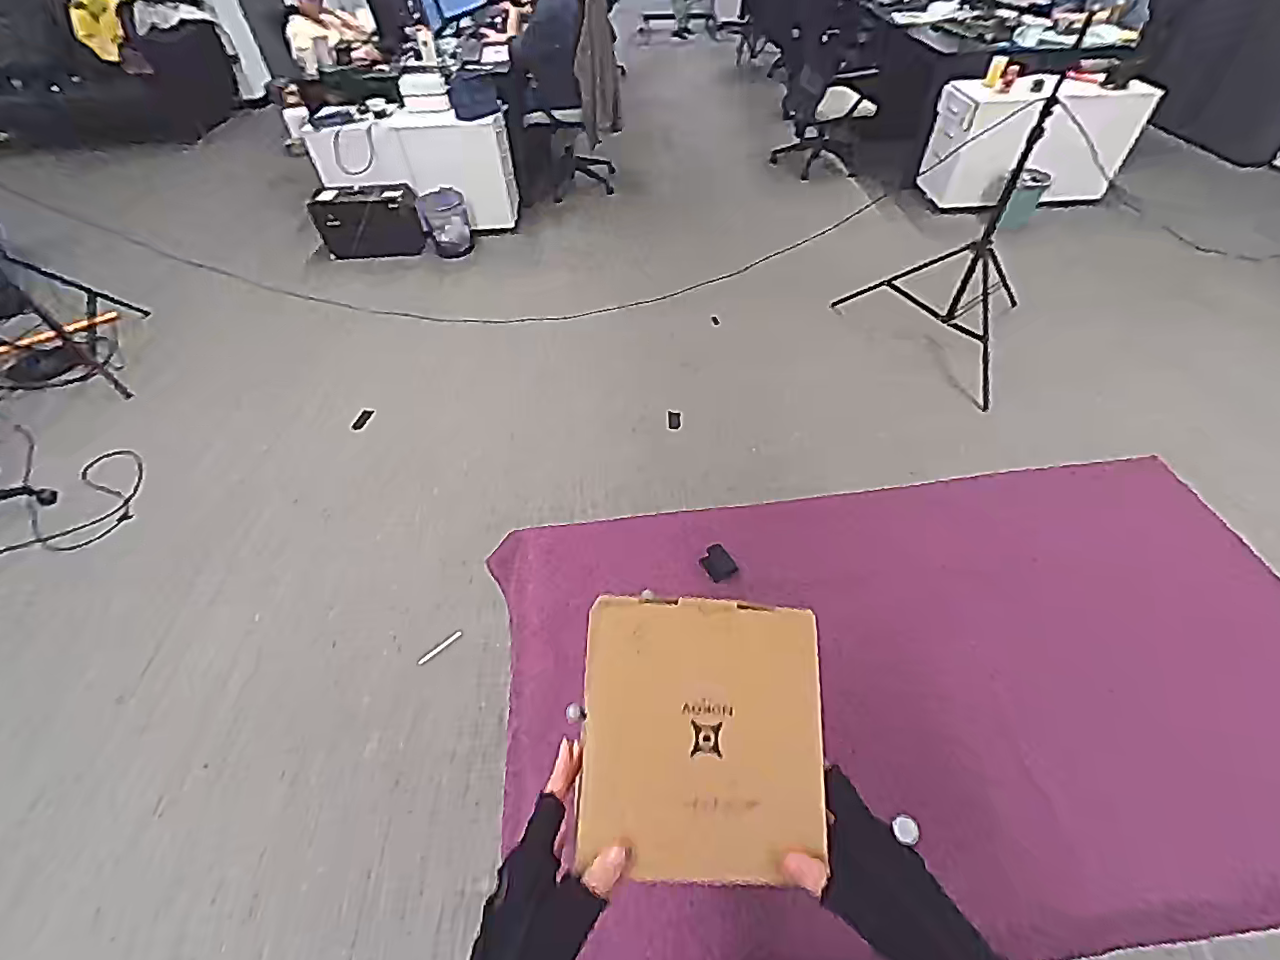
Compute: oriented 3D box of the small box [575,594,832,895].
[{"bbox_3d":[0.038,0.195,0.436,0.168,0.176,0.179,5,72,-4],"label":"small box"}]
